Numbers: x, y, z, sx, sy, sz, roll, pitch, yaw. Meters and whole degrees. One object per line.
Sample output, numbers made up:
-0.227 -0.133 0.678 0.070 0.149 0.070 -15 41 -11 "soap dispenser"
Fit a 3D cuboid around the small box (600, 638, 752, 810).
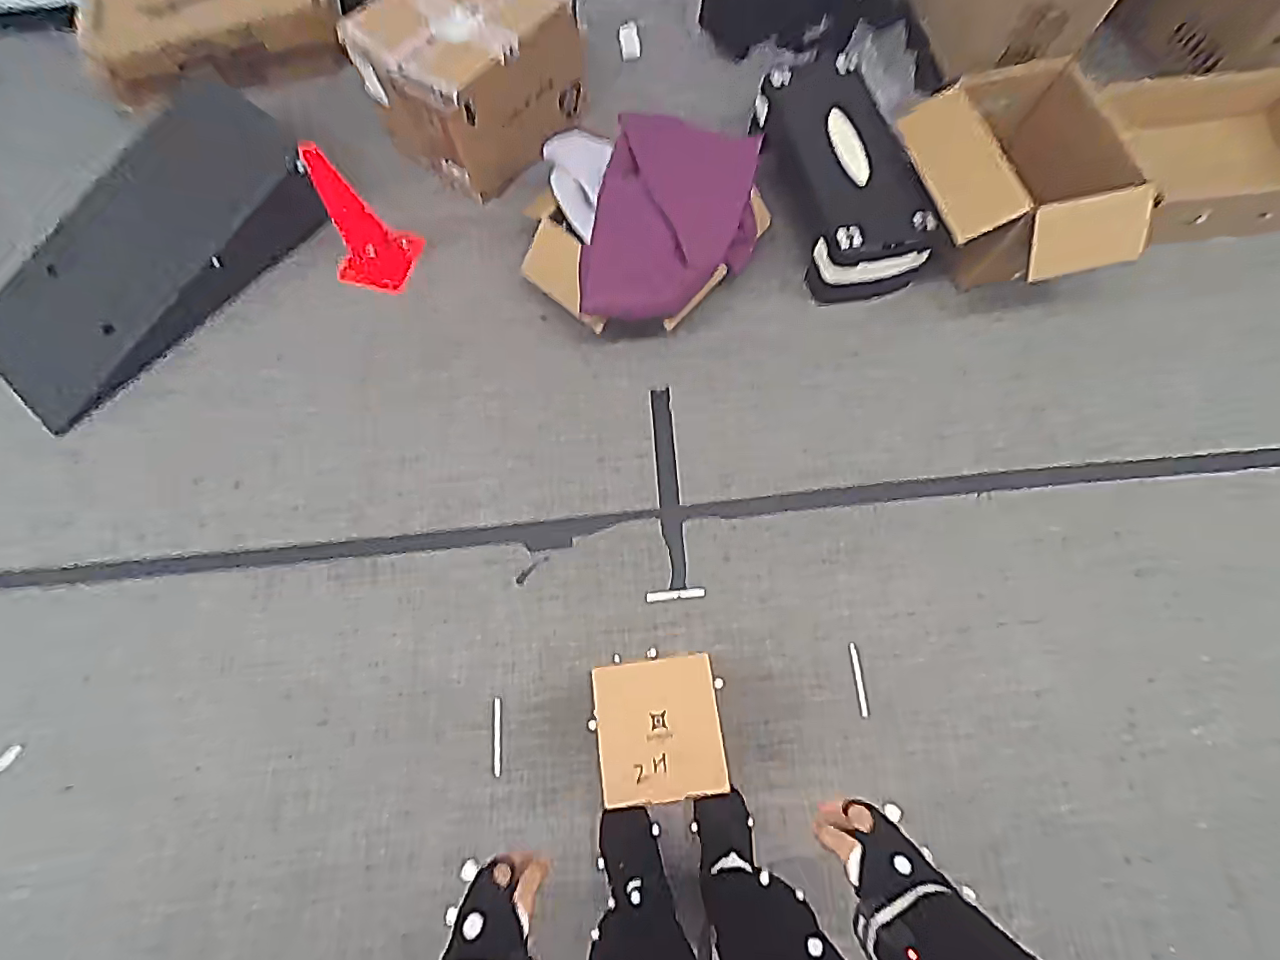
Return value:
0.040 0.313 0.723 0.168 0.176 0.179 -8 73 -1 "small box"
